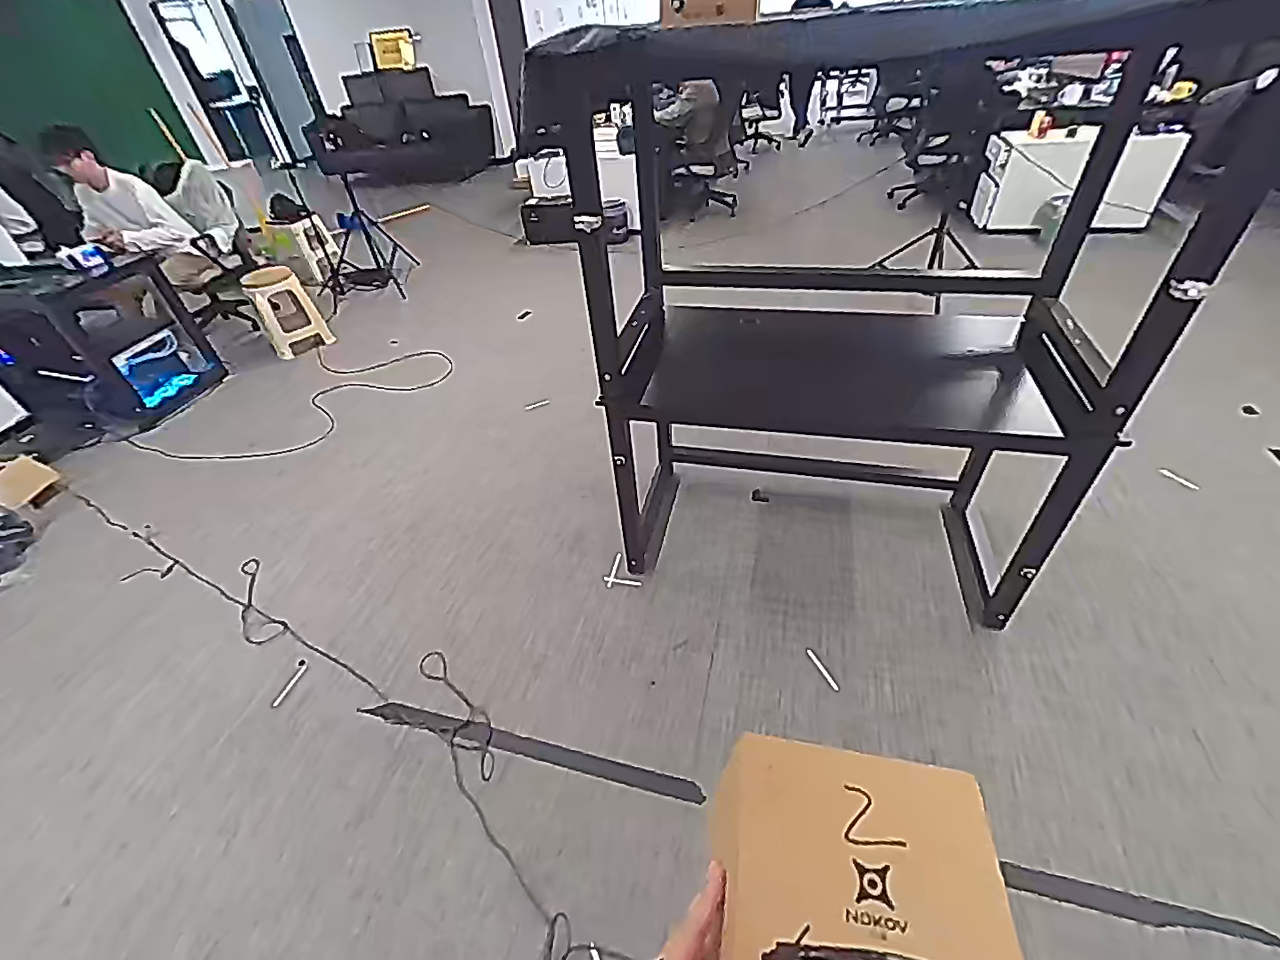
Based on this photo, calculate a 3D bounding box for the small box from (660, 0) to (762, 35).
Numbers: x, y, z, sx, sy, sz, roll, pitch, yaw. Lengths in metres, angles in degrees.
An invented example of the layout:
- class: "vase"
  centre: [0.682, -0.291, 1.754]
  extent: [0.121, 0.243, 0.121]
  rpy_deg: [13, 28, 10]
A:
- class: "small box"
  centre: [0.125, -0.875, 0.921]
  extent: [0.168, 0.176, 0.179]
  rpy_deg: [6, 40, 11]
